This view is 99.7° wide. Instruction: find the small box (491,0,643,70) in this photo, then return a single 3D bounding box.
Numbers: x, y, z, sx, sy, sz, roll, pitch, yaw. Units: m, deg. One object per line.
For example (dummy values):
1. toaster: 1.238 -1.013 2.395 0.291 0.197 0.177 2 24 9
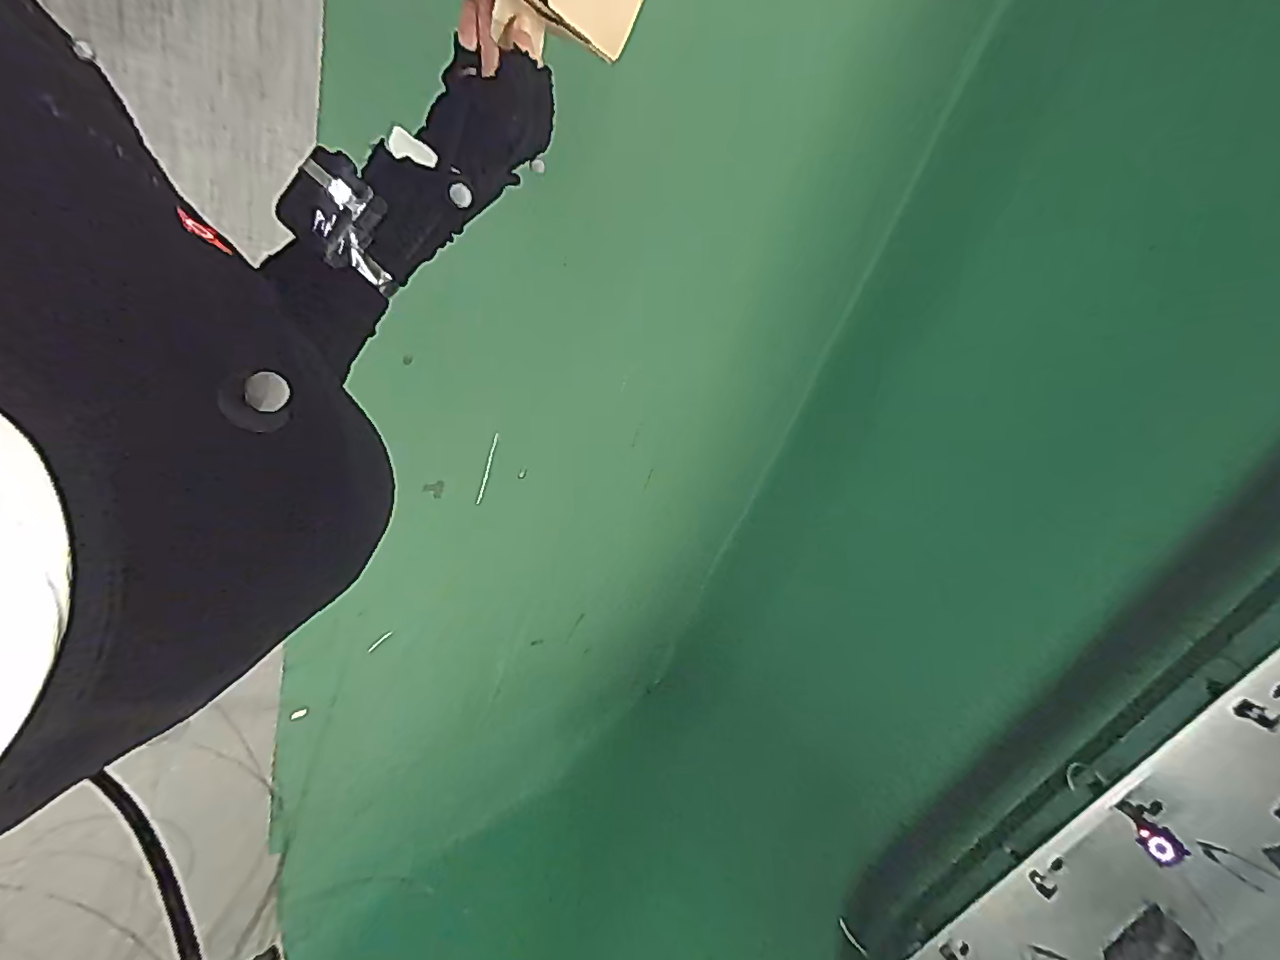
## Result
1. small box: -0.082 -0.442 0.371 0.168 0.176 0.179 -10 139 -53
